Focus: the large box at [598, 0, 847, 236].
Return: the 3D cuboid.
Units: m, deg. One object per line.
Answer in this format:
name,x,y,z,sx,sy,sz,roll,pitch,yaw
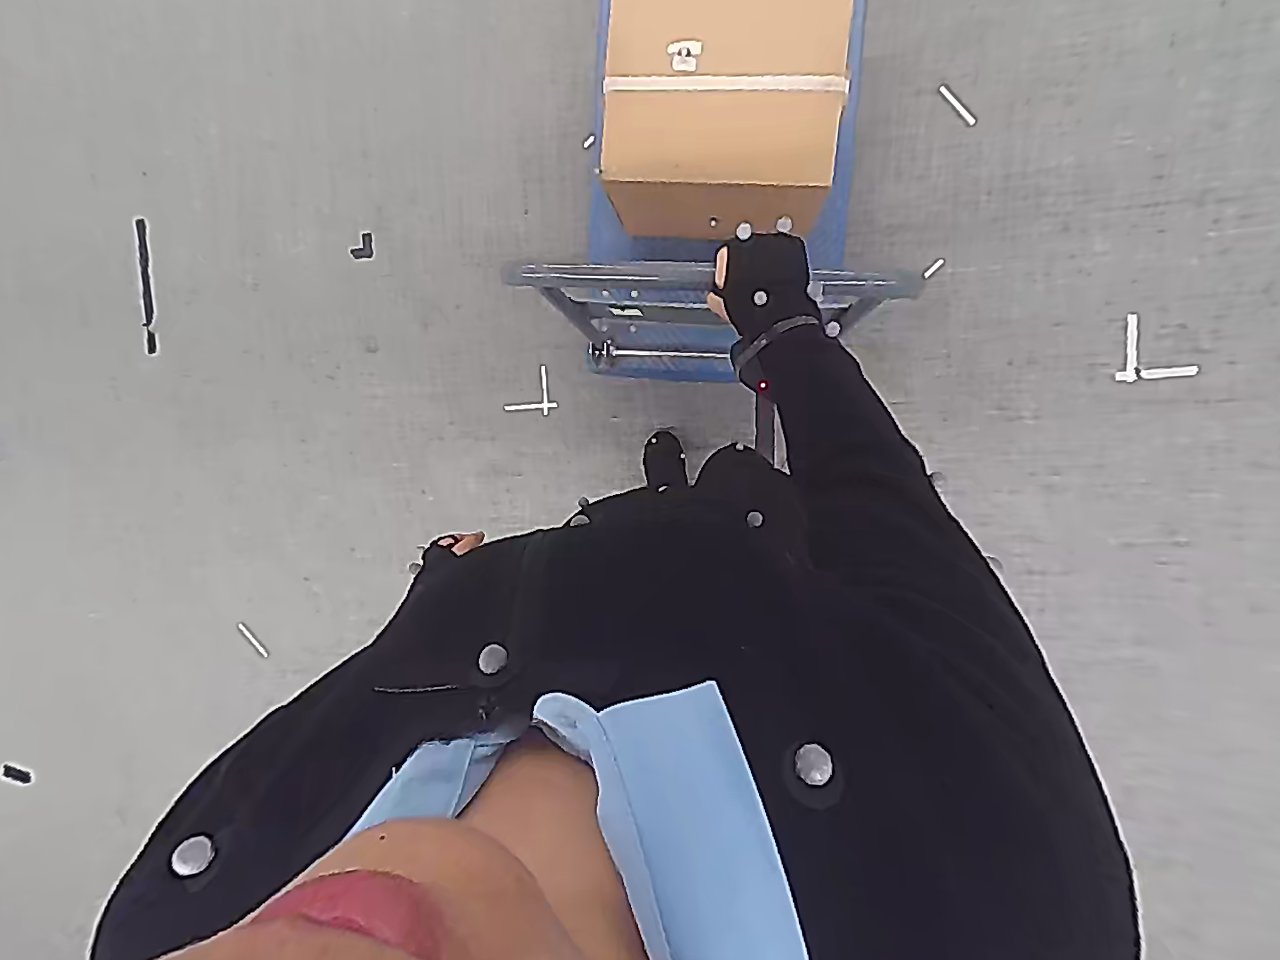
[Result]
large box,0.155,-0.683,1.055,0.408,0.320,0.320,6,96,9
